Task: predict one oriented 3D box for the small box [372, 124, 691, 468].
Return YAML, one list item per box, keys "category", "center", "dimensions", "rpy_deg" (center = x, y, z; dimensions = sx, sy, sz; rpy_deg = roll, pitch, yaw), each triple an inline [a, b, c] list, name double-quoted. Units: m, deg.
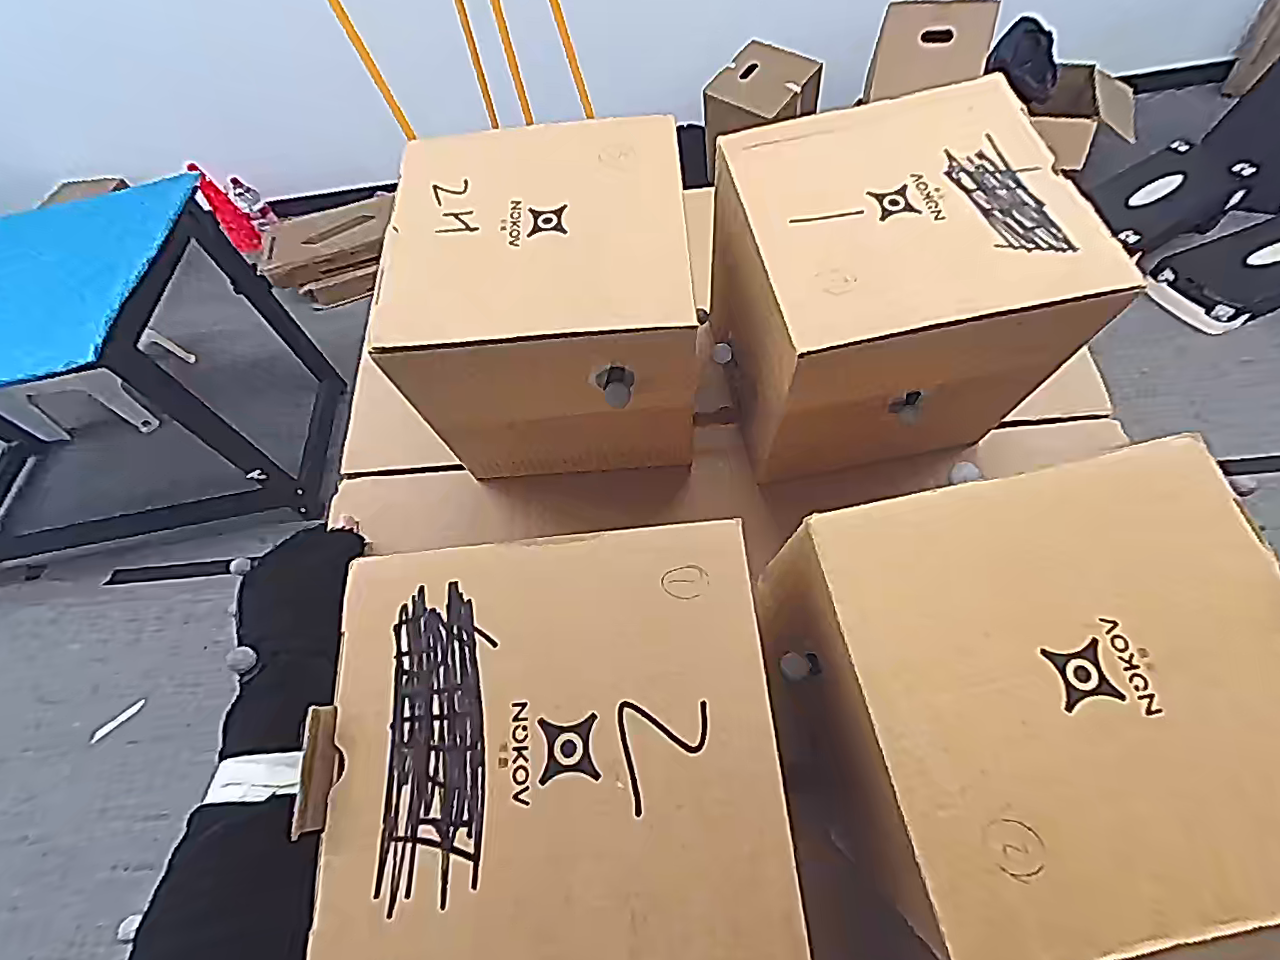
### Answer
- category: "small box"
  center: [-0.056, -0.118, 0.394]
  dimensions: [0.179, 0.176, 0.168]
  rpy_deg: [-3, 66, 4]
